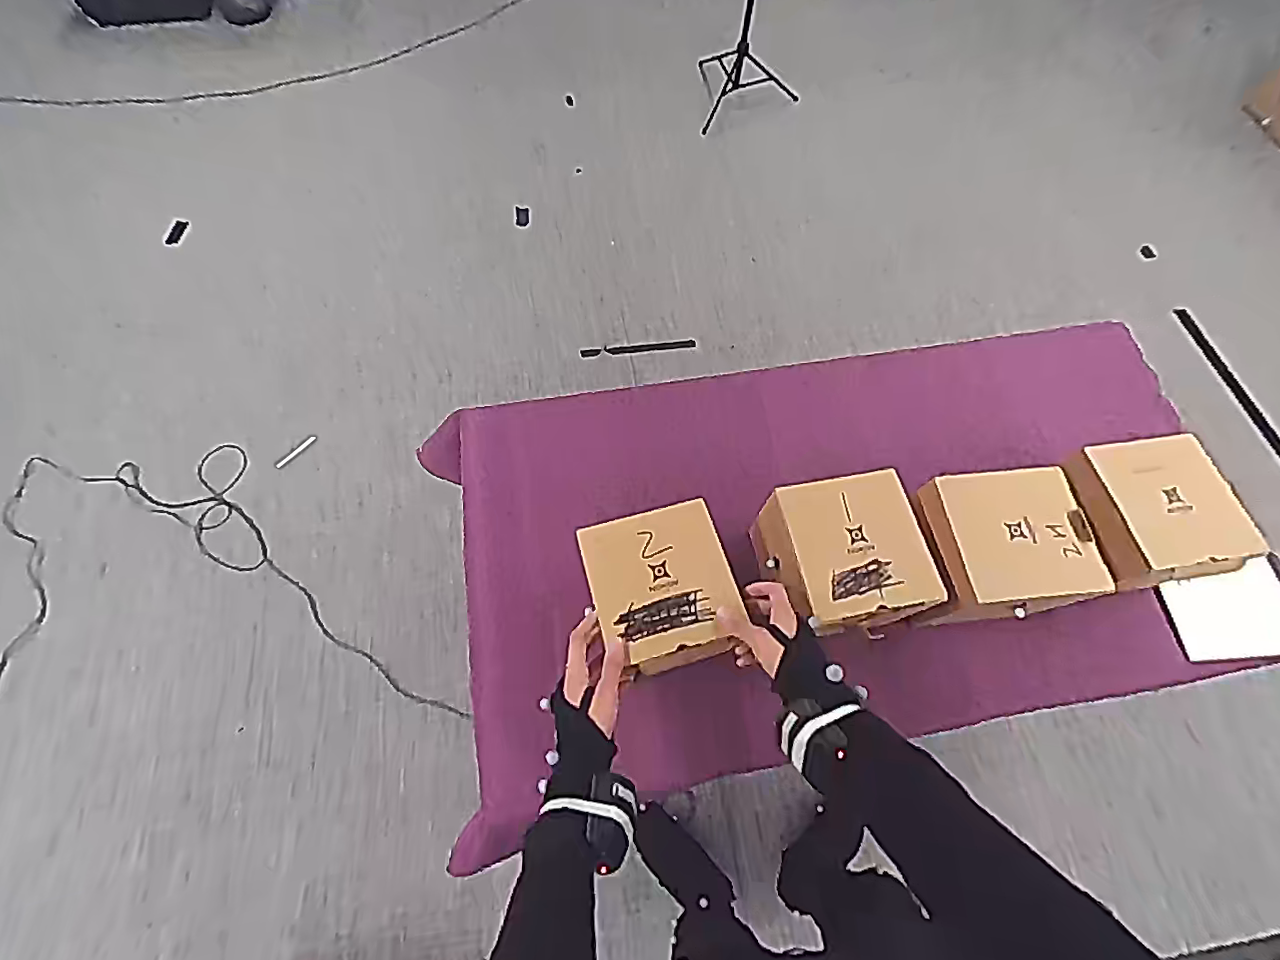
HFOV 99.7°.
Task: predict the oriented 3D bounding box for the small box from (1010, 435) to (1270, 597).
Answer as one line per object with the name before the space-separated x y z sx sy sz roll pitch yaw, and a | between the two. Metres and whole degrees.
small box | 0.678 0.060 0.761 0.168 0.176 0.179 -7 65 -5
